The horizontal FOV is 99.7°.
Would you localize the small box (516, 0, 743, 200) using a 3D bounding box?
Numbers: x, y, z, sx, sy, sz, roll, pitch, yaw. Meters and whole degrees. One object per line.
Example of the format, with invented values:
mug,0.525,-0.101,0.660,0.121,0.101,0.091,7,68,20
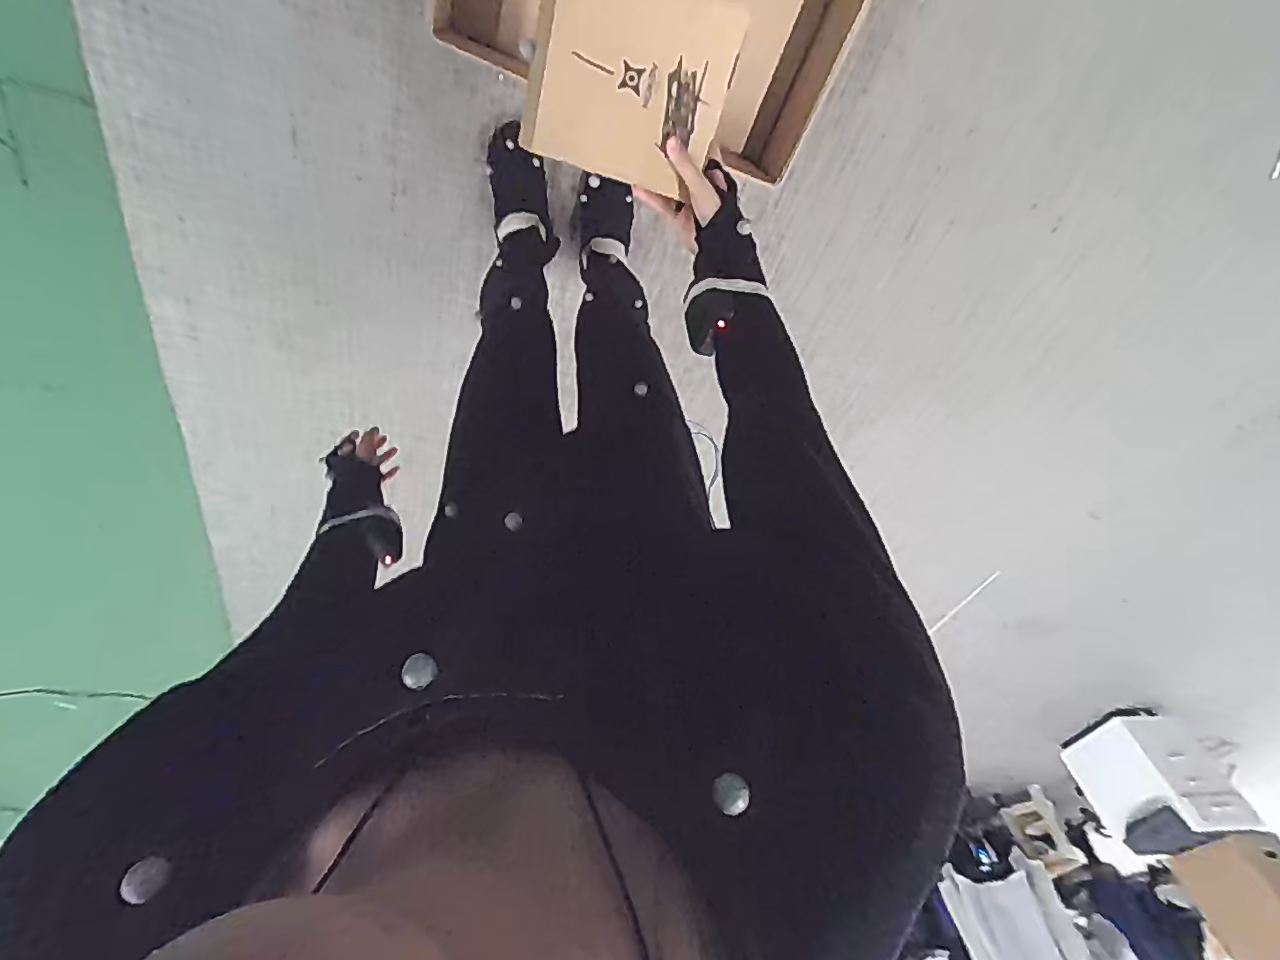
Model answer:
small box,-0.026,-0.418,0.570,0.179,0.176,0.168,8,120,-21
